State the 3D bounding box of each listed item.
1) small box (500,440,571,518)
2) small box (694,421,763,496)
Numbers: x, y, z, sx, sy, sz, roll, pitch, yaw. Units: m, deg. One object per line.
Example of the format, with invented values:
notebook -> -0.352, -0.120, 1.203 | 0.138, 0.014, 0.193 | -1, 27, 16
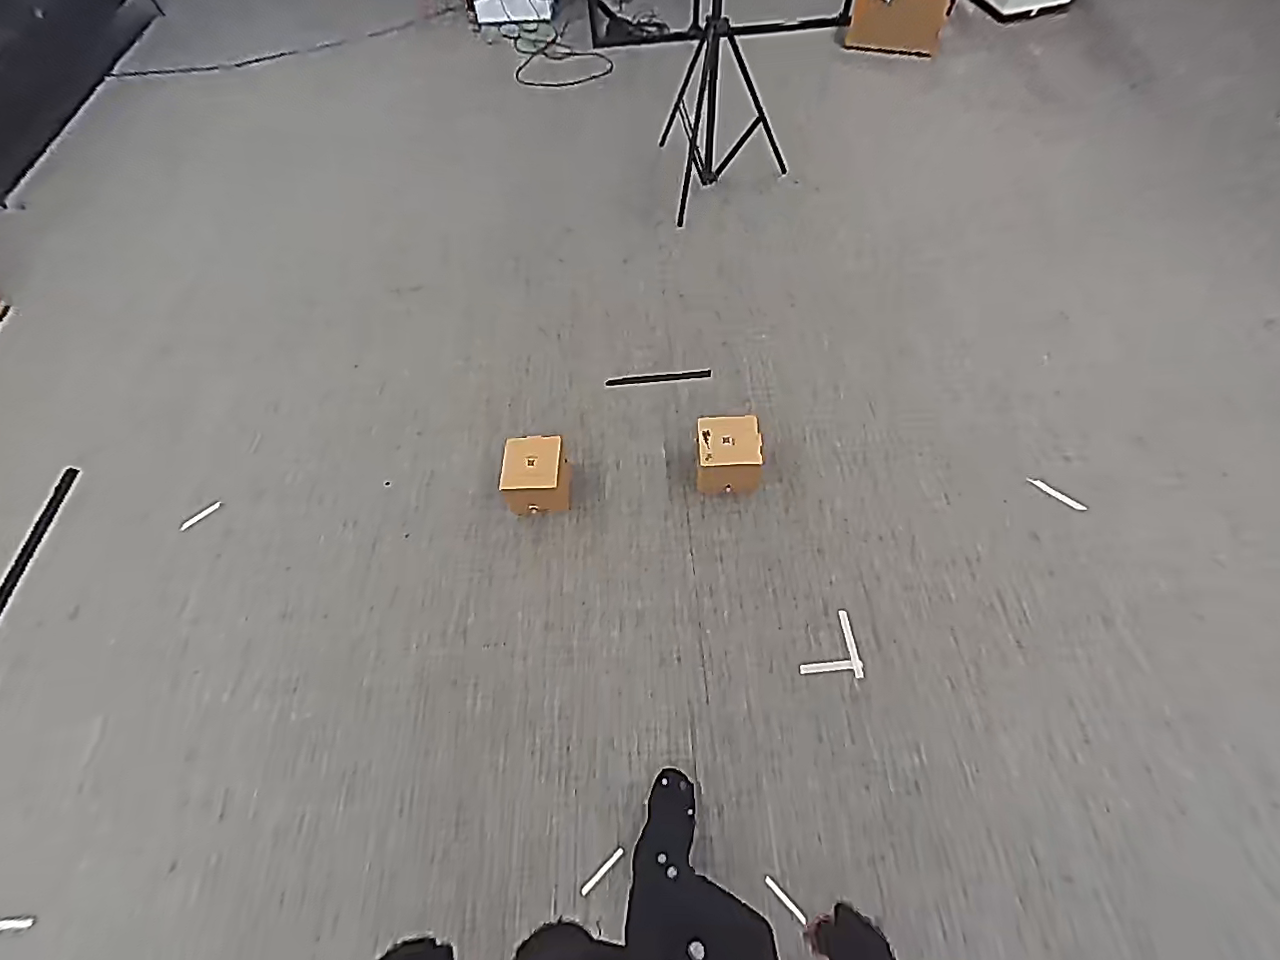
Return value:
small box -> -0.304, -0.001, 1.614 | 0.168, 0.176, 0.179 | -2, 61, 4
small box -> 0.257, -0.060, 1.608 | 0.179, 0.176, 0.168 | -1, 61, 2
